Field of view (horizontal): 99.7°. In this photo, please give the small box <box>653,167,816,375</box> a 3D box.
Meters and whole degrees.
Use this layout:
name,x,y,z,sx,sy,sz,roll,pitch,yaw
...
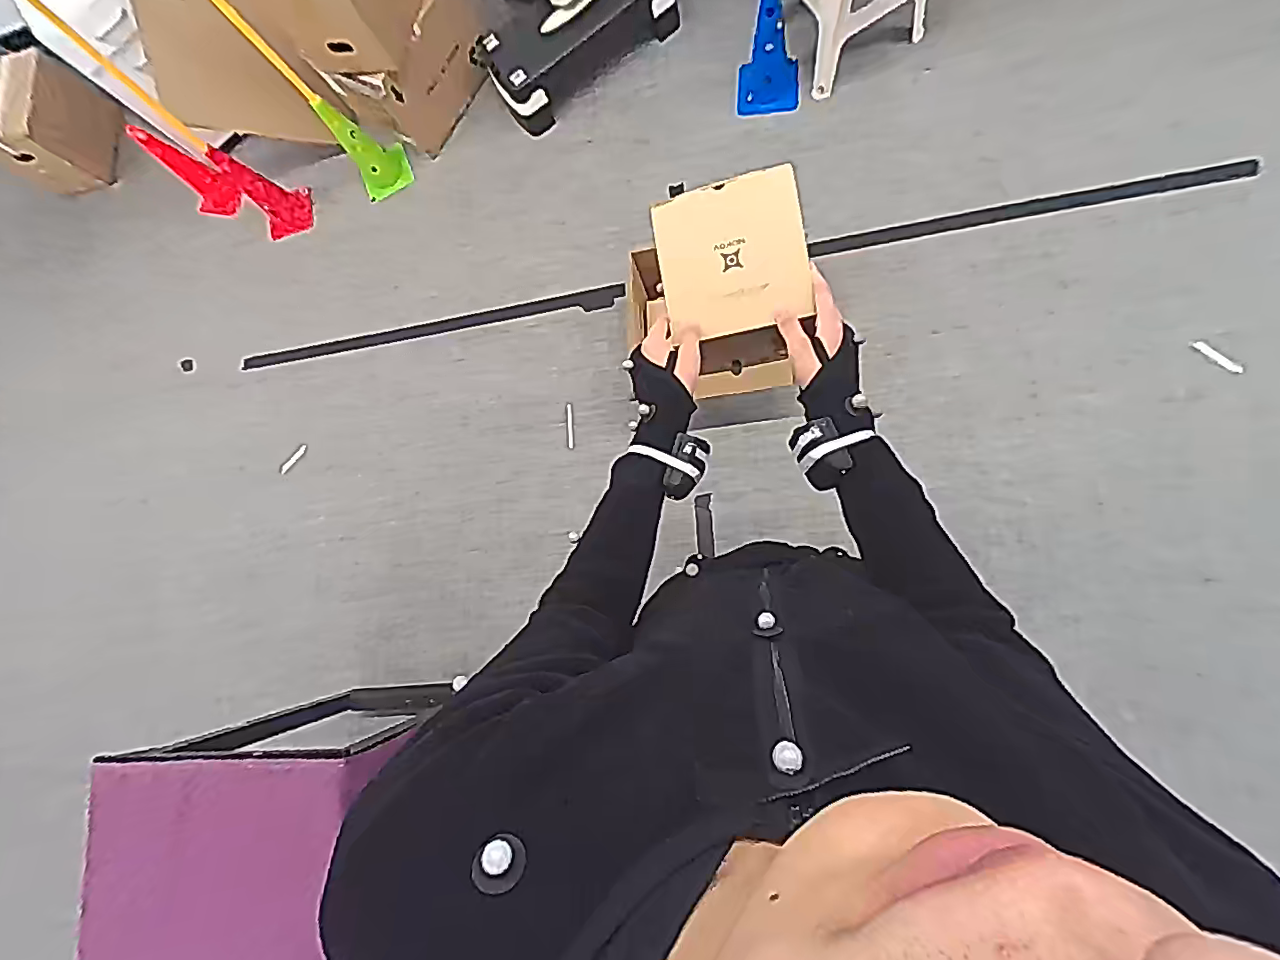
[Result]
name,x,y,z,sx,sy,sz,roll,pitch,yaw
small box,0.121,-0.250,0.690,0.168,0.176,0.179,-9,85,13
